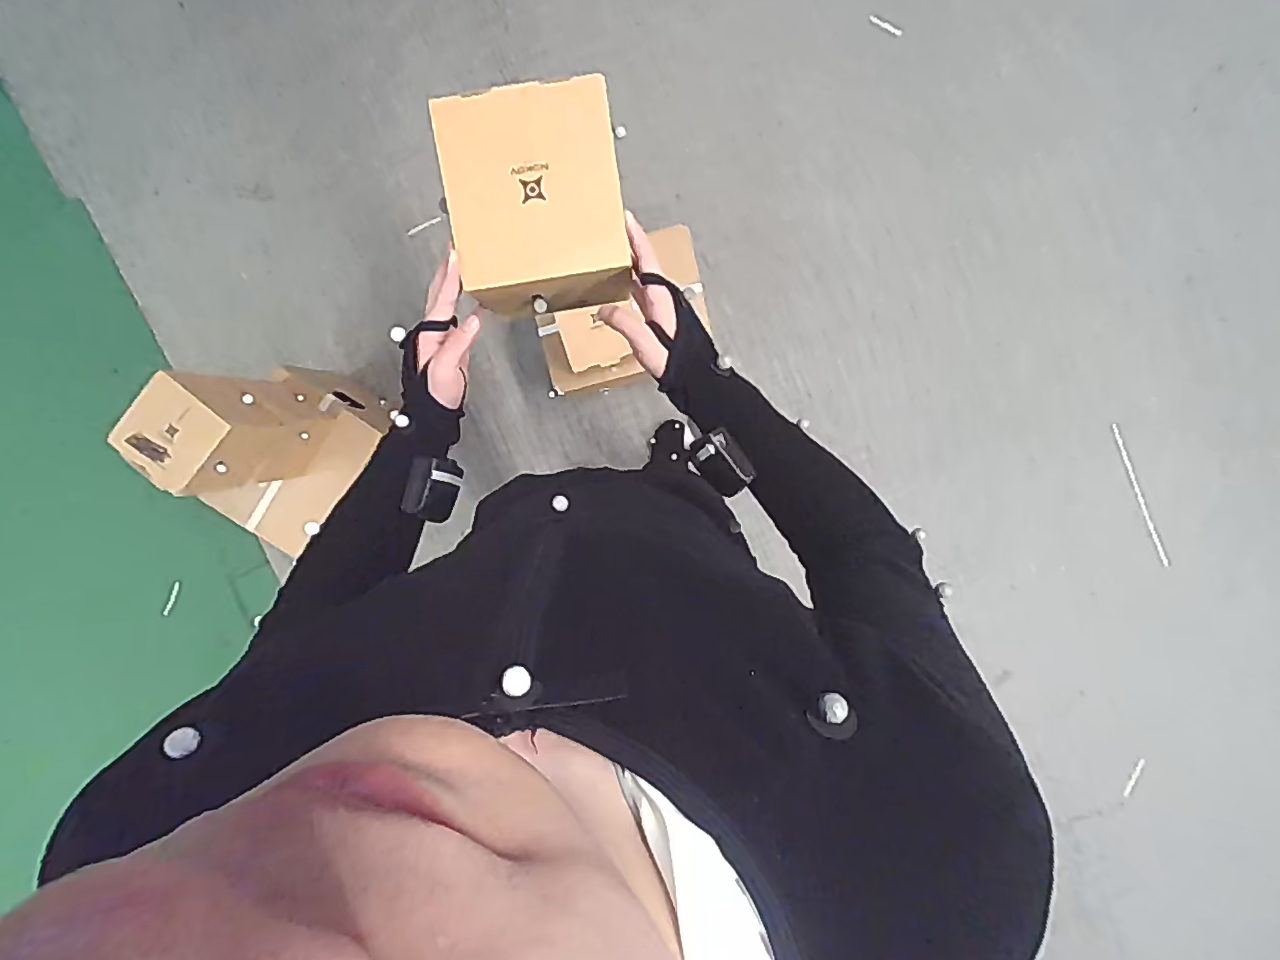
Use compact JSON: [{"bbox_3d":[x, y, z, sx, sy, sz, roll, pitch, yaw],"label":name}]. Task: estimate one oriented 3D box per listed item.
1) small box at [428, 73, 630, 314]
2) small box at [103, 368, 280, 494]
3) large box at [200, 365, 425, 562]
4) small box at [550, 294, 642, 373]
[{"bbox_3d":[-0.103,-0.286,0.584,0.168,0.176,0.179,-9,96,0],"label":"small box"},{"bbox_3d":[-0.869,-0.096,1.068,0.168,0.176,0.179,41,94,-4],"label":"small box"},{"bbox_3d":[-0.869,-0.057,1.486,0.320,0.320,0.408,34,96,-3],"label":"large box"},{"bbox_3d":[-0.097,-0.345,1.207,0.168,0.176,0.179,-18,98,2],"label":"small box"}]
